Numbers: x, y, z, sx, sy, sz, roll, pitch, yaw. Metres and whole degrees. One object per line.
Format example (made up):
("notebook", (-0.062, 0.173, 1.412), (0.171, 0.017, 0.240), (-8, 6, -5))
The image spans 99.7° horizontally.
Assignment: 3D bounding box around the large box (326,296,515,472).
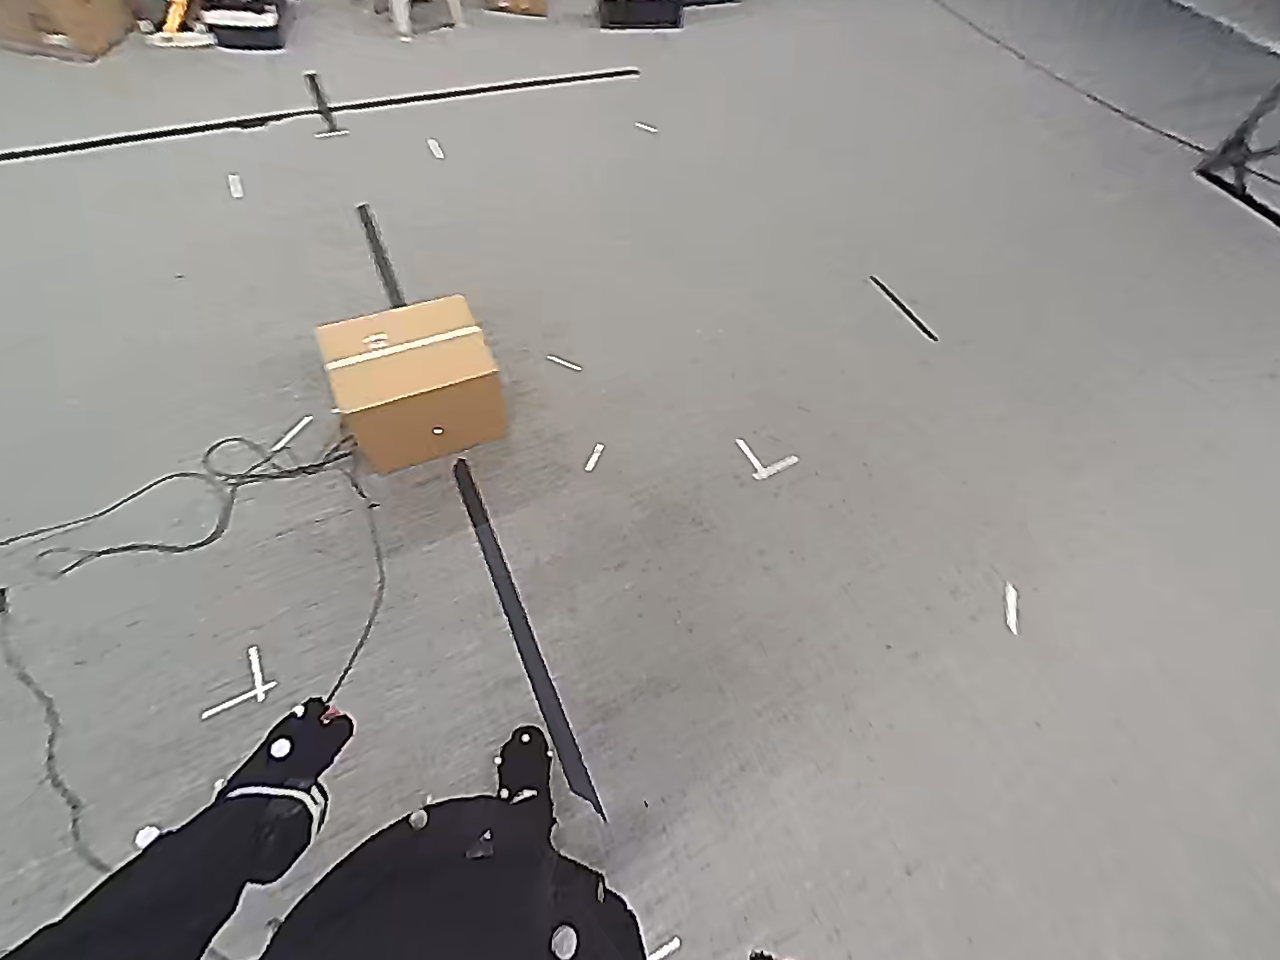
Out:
("large box", (-0.623, -0.279, 1.592), (0.408, 0.320, 0.320), (-21, 65, -17))
